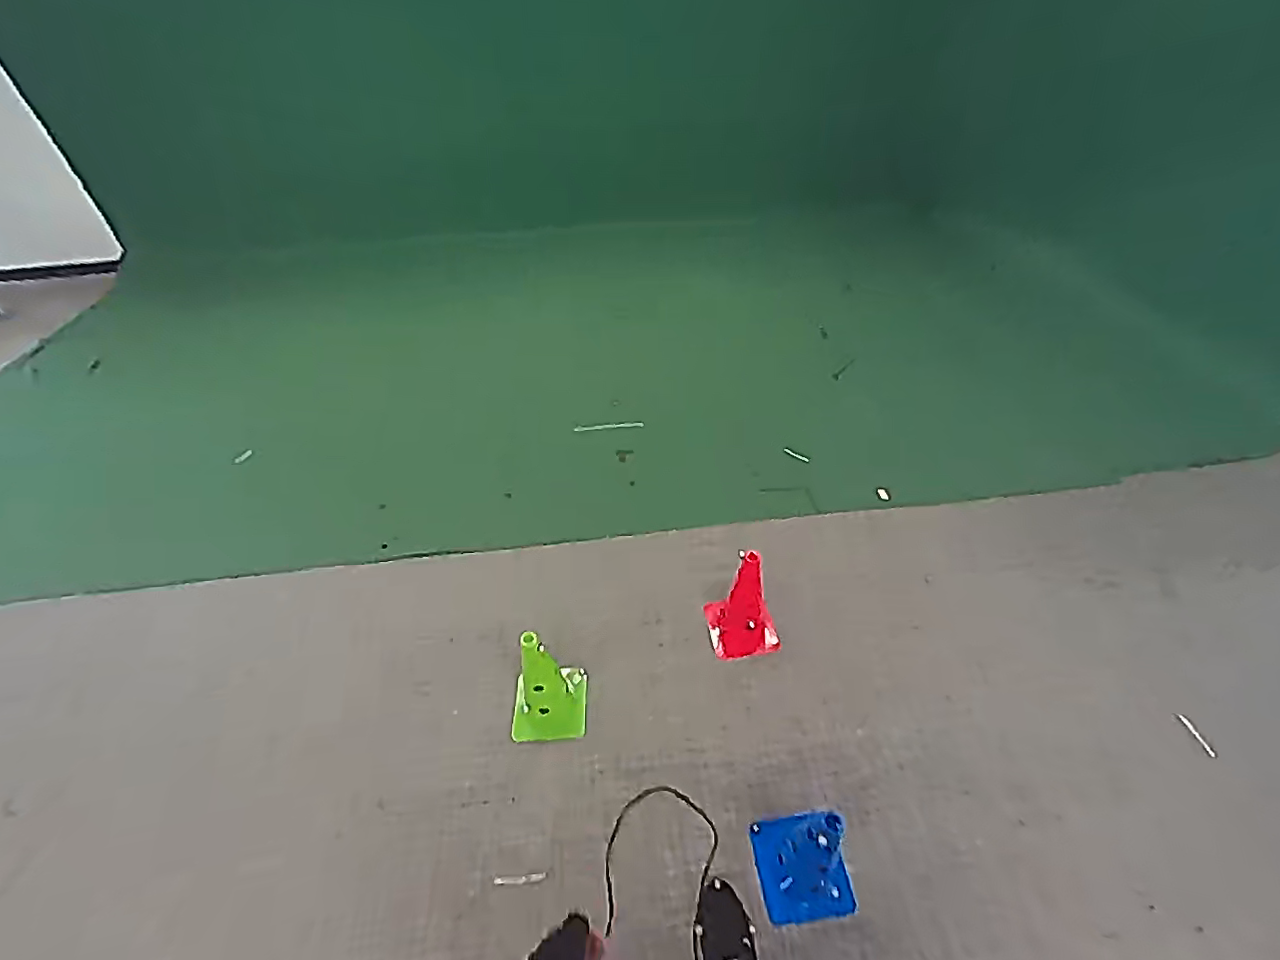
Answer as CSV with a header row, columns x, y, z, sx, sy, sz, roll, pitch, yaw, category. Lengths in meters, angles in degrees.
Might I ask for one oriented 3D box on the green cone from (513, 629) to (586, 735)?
x,y,z,sx,sy,sz,roll,pitch,yaw,category
-0.260,0.494,1.411,0.200,0.368,0.202,-4,45,-1,green cone
